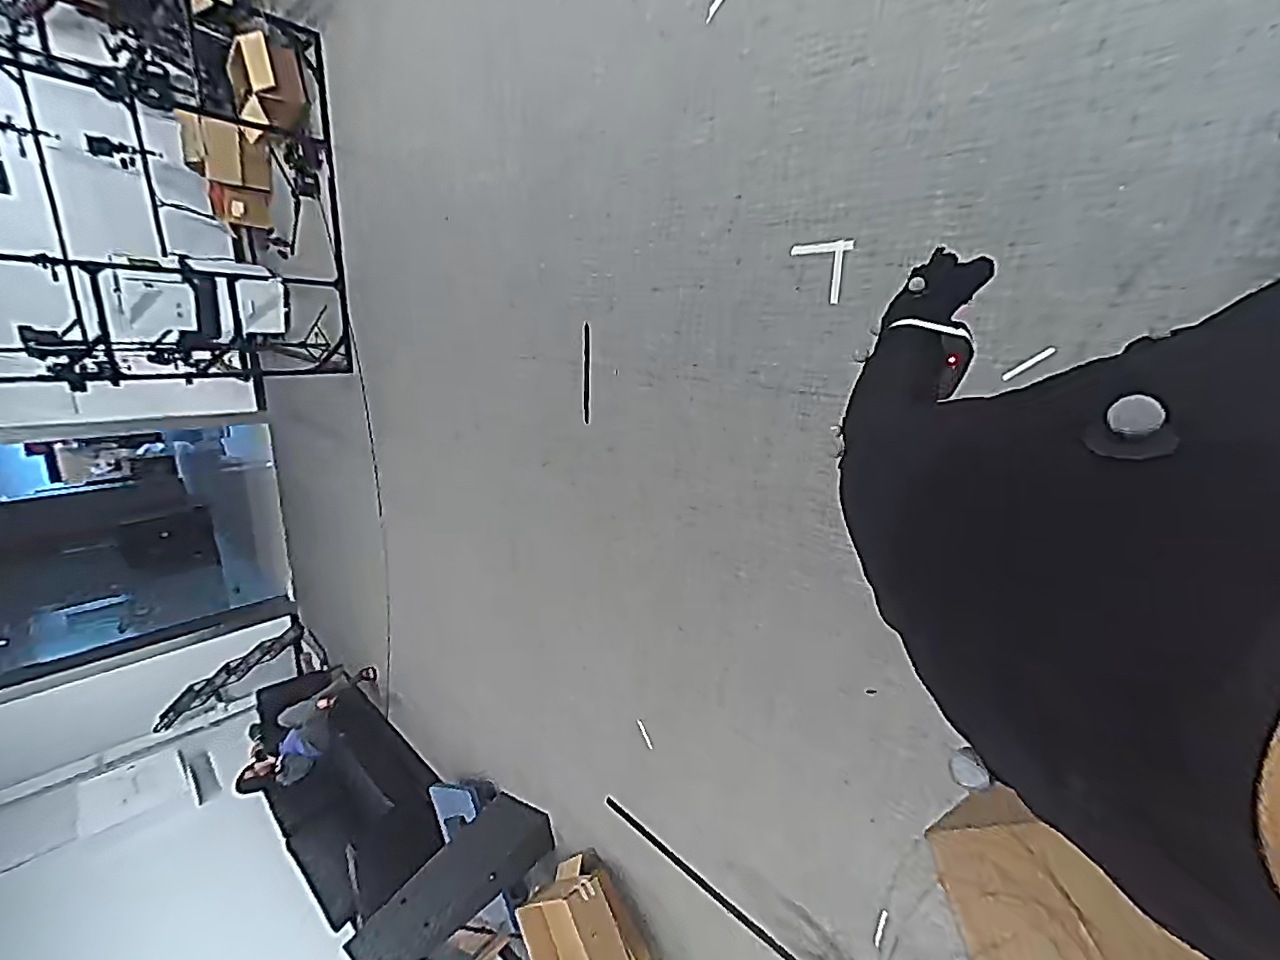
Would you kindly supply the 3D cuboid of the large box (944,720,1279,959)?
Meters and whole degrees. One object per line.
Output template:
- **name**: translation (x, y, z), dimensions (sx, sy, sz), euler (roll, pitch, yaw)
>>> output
- **large box**: translation (0.585, 0.415, 0.491), dimensions (0.408, 0.320, 0.320), euler (-34, 58, 34)
